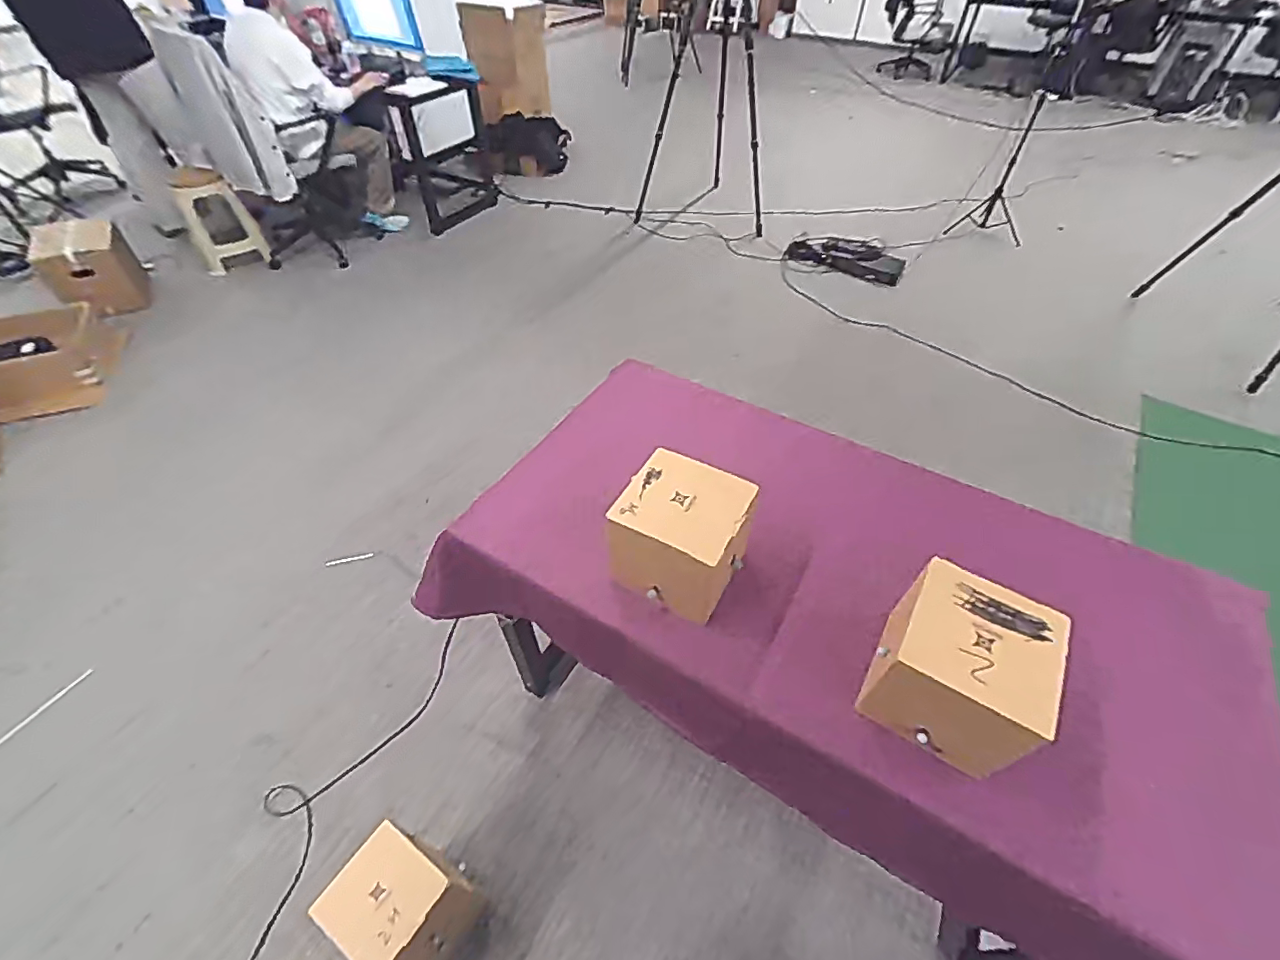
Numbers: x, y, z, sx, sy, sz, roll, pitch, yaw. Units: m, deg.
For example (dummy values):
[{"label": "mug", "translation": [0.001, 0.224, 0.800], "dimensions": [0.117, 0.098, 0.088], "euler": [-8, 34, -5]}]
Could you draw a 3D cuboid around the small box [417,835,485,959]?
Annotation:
[{"label": "small box", "translation": [-0.443, 0.880, 1.108], "dimensions": [0.168, 0.176, 0.179], "euler": [26, 52, 21]}]

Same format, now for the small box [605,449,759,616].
[{"label": "small box", "translation": [0.062, 0.087, 0.845], "dimensions": [0.179, 0.176, 0.168], "euler": [24, 51, 18]}]

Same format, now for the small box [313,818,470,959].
[{"label": "small box", "translation": [-0.443, 0.766, 0.989], "dimensions": [0.179, 0.176, 0.168], "euler": [27, 53, 21]}]
